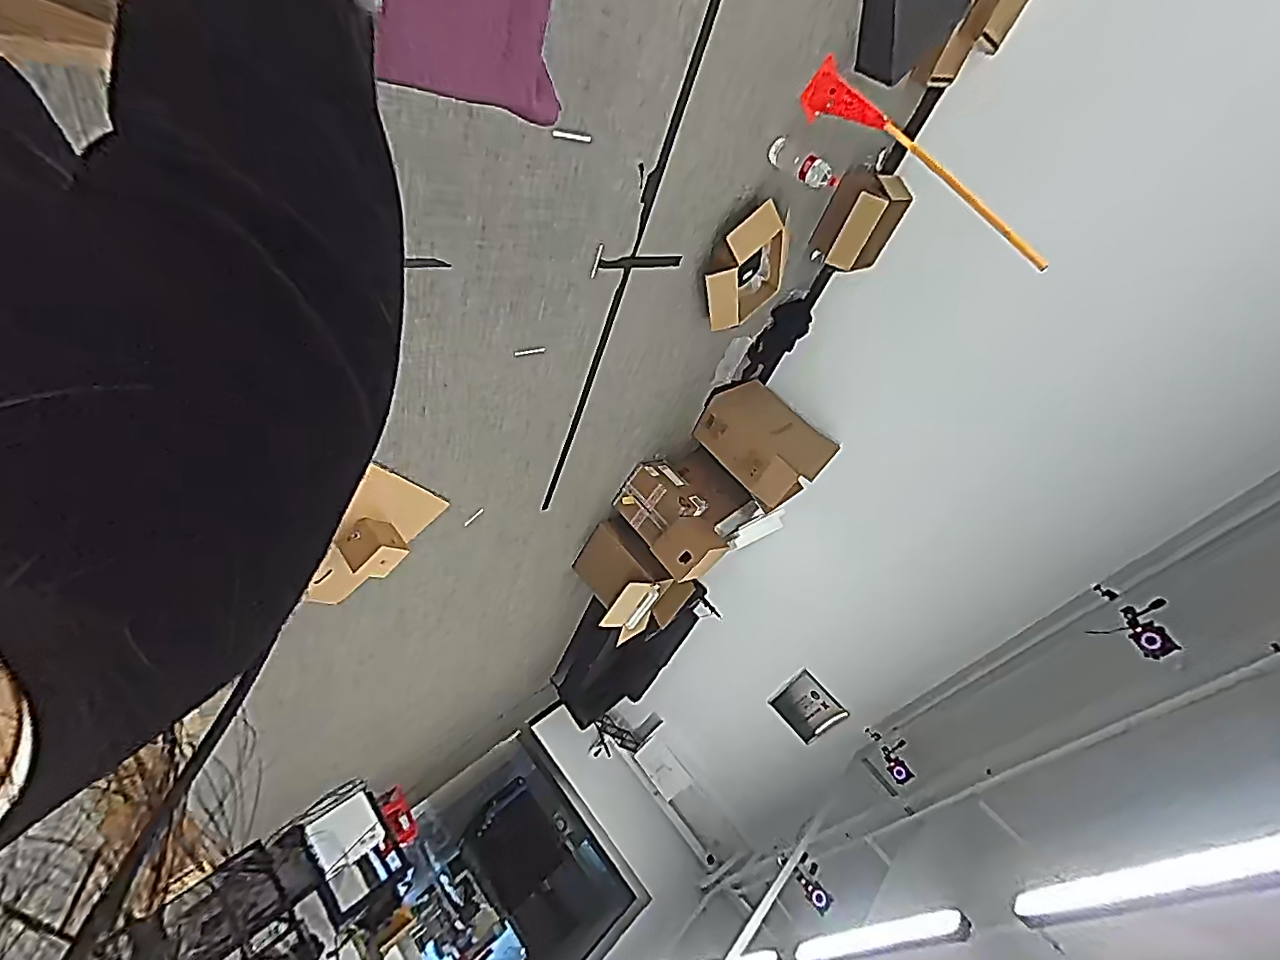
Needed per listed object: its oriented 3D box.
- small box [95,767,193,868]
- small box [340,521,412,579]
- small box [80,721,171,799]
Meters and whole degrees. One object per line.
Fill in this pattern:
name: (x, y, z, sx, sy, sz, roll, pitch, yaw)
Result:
small box: (-1.464, 0.989, 1.598, 0.168, 0.176, 0.179, -22, 148, -44)
small box: (-1.099, 0.290, 2.248, 0.168, 0.176, 0.179, -45, 158, 2)
small box: (-1.568, 0.874, 1.652, 0.168, 0.176, 0.179, -20, 148, -47)
